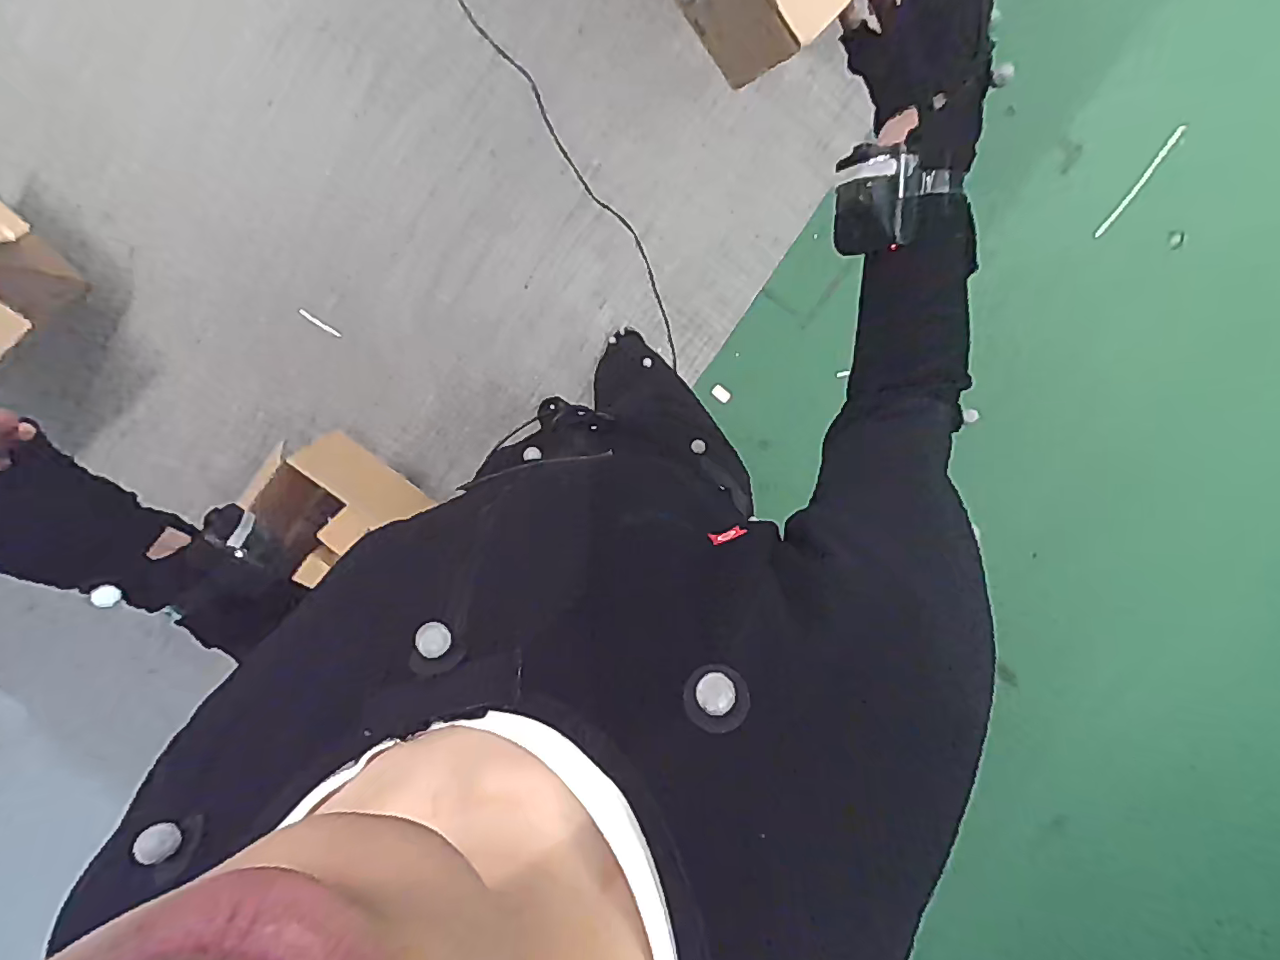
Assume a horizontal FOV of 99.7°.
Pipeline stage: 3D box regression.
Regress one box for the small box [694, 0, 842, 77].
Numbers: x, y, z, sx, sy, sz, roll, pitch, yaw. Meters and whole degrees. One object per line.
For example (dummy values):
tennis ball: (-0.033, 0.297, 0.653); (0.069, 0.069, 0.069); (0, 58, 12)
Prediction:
small box: (0.113, -0.441, 0.392); (0.179, 0.176, 0.168); (-40, 115, 15)
